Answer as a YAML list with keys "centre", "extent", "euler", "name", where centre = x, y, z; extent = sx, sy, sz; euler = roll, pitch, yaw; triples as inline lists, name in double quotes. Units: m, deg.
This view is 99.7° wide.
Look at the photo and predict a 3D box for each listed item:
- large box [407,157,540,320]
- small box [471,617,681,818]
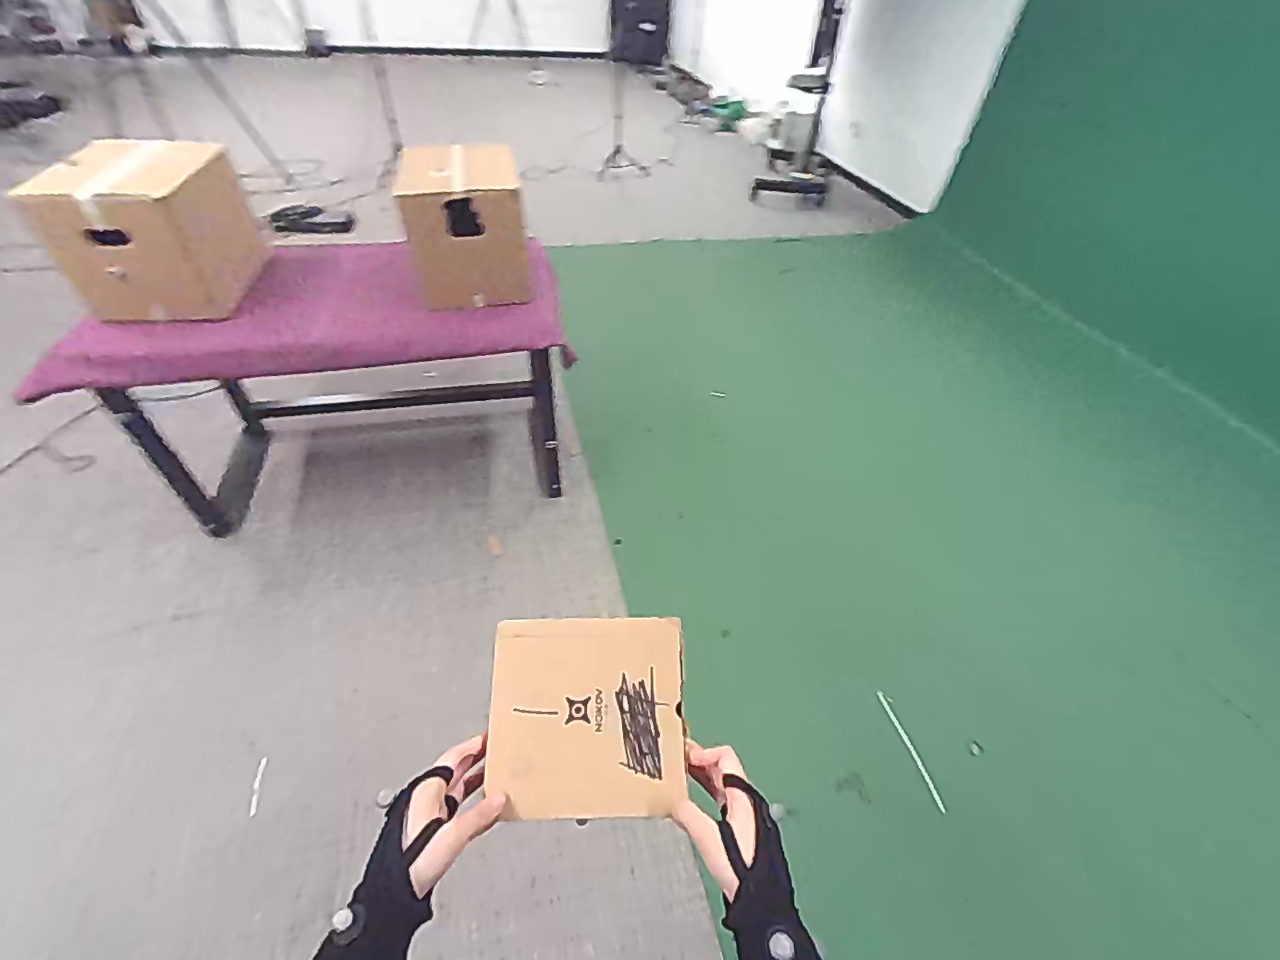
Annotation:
- centre: [-0.481, -0.723, 1.600]
  extent: [0.320, 0.320, 0.408]
  euler: [-9, 47, -10]
  name: "large box"
- centre: [-0.056, 0.236, 0.552]
  extent: [0.179, 0.176, 0.168]
  euler: [0, 66, -2]
  name: "small box"
